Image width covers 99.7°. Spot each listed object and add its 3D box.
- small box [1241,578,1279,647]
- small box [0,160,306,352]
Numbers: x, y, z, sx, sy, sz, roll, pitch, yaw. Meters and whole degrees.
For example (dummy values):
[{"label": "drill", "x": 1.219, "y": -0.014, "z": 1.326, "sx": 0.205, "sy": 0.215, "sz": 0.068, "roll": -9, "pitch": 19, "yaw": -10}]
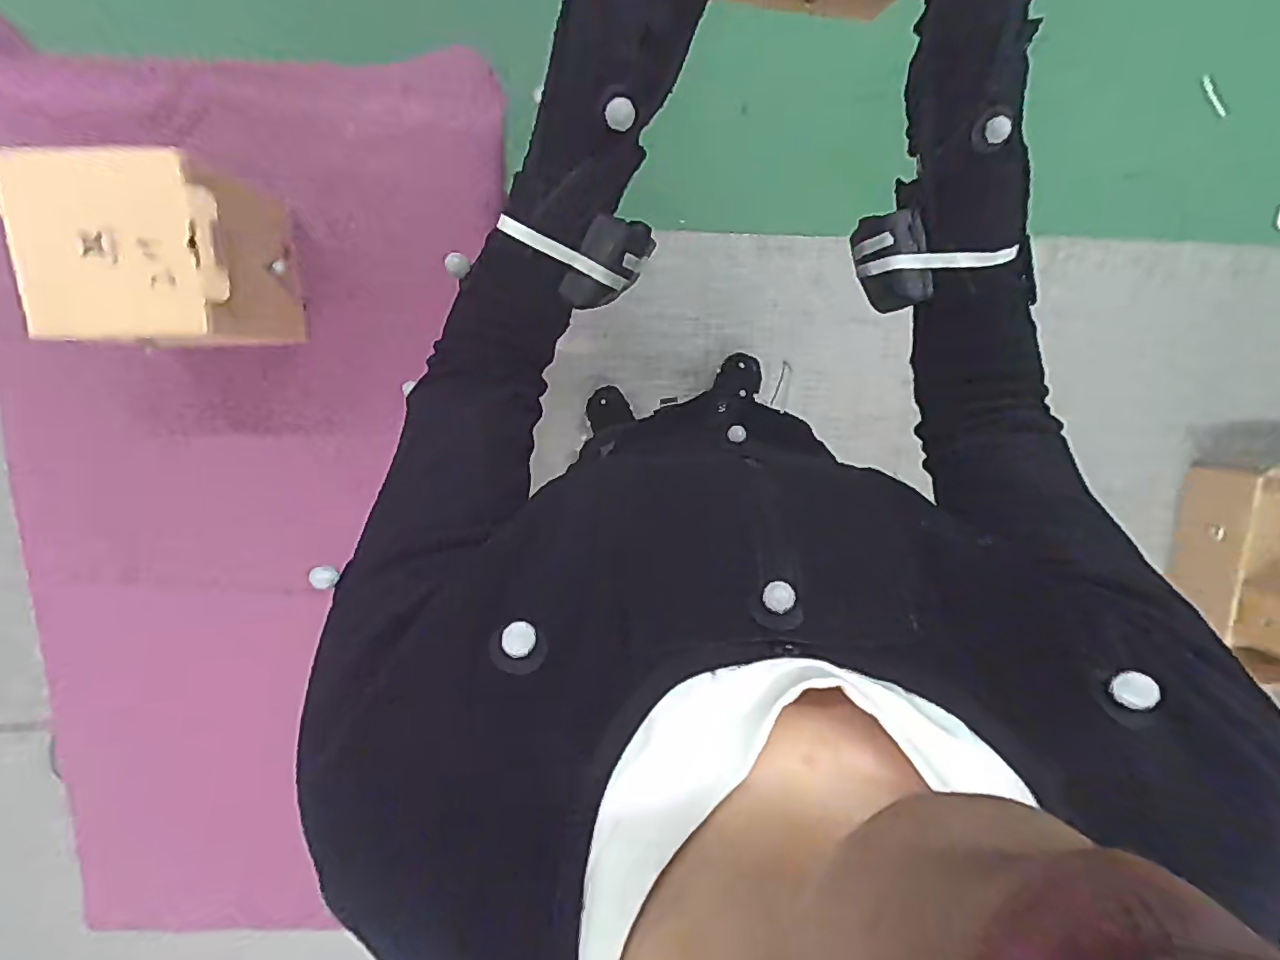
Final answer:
[{"label": "small box", "x": 1.843, "y": 0.378, "z": 1.501, "sx": 0.179, "sy": 0.176, "sz": 0.168, "roll": -6, "pitch": 99, "yaw": -2}, {"label": "small box", "x": -0.506, "y": -0.227, "z": 0.589, "sx": 0.179, "sy": 0.176, "sz": 0.168, "roll": -1, "pitch": 102, "yaw": -2}]
